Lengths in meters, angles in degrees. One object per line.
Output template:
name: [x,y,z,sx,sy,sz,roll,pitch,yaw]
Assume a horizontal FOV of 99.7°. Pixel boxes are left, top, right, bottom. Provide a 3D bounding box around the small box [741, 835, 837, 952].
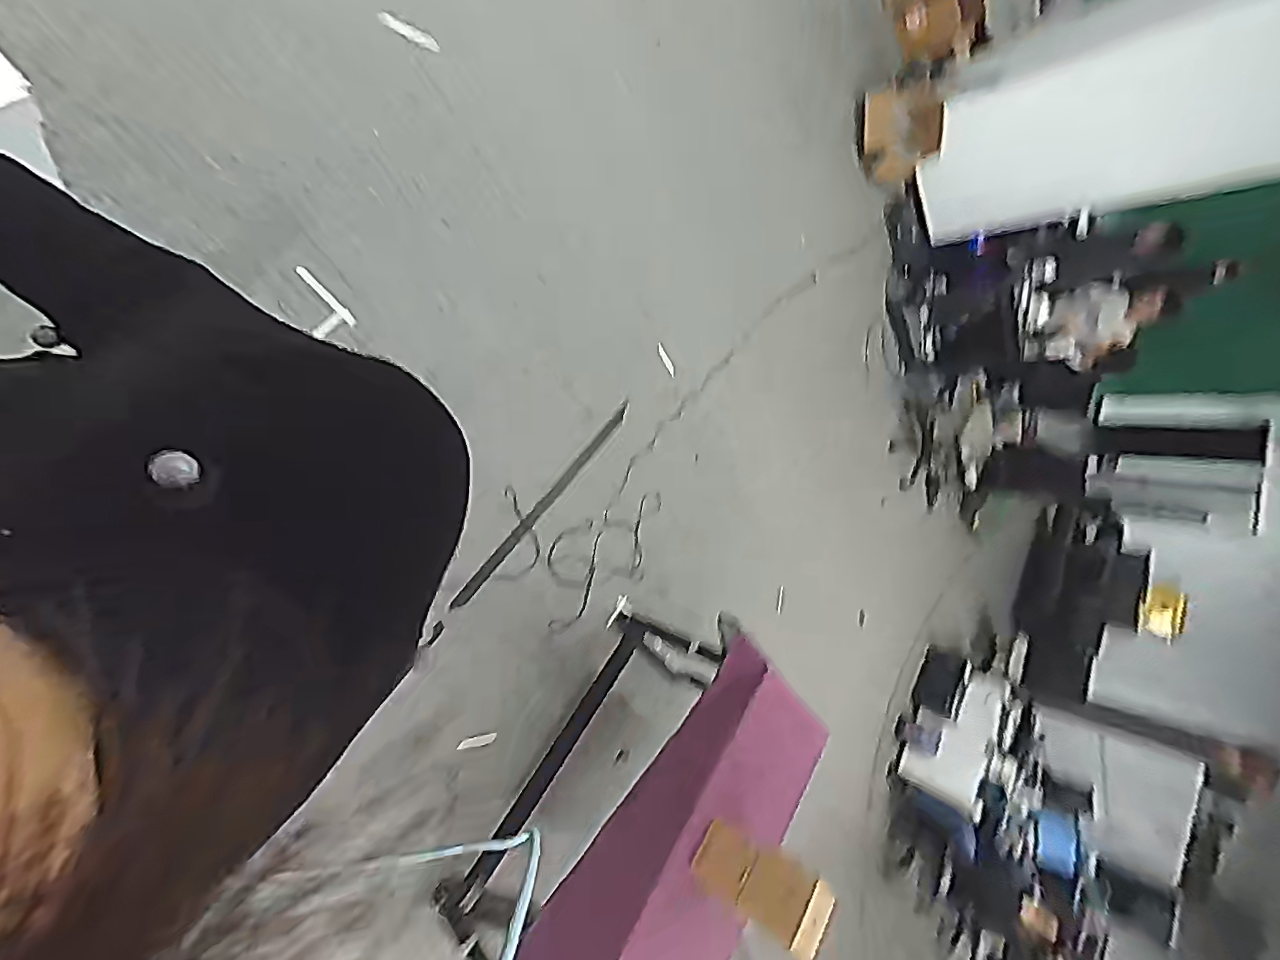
small box: [0.403,1.112,1.465,0.179,0.176,0.168,-51,126,-25]
